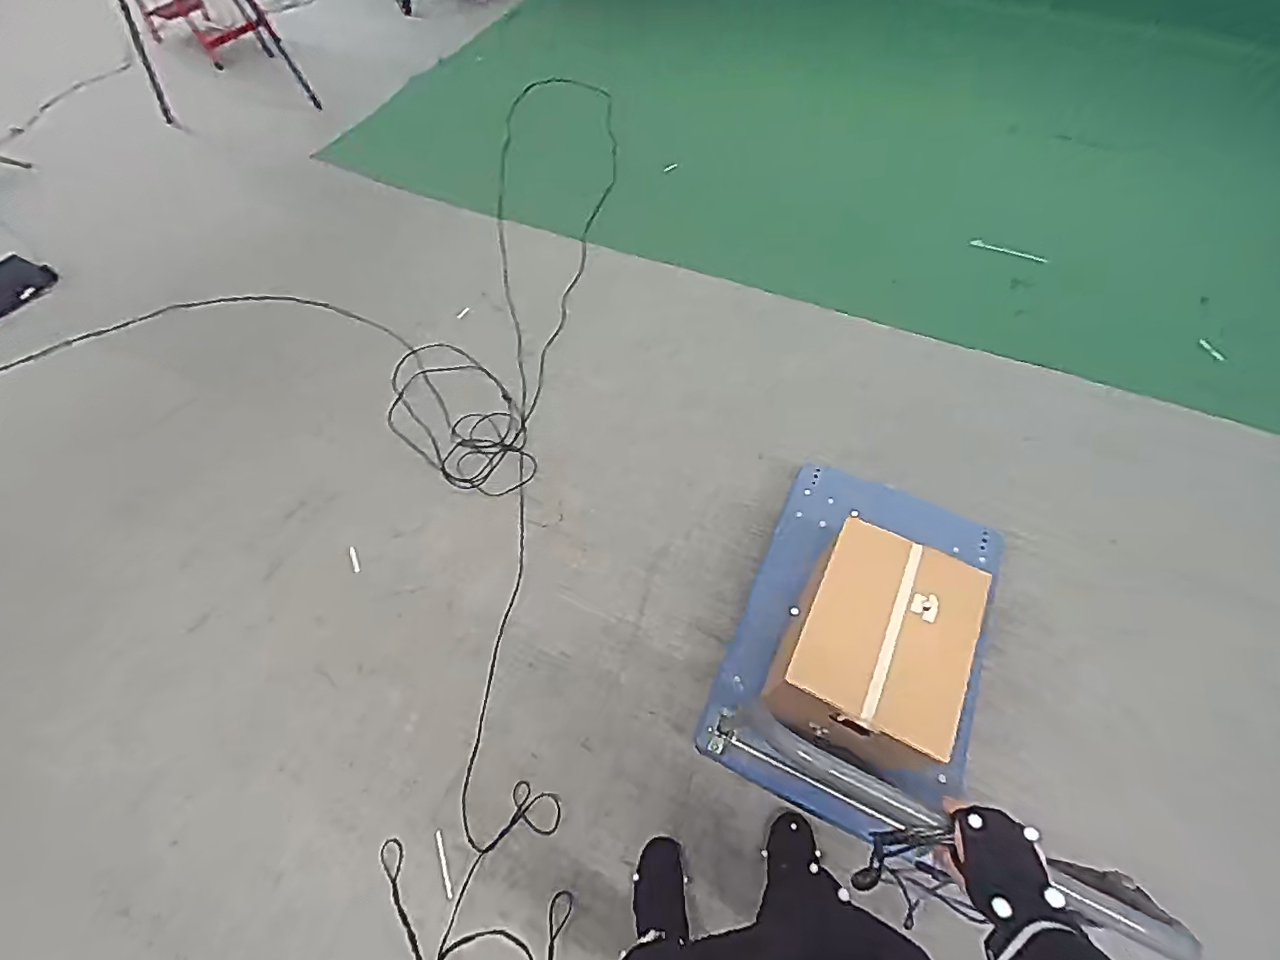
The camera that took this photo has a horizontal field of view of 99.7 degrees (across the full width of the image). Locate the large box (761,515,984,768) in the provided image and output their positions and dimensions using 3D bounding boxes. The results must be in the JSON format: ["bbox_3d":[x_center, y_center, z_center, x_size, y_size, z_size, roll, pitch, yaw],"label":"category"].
[{"bbox_3d":[0.502,0.364,1.209,0.320,0.320,0.408,25,63,14],"label":"large box"}]
